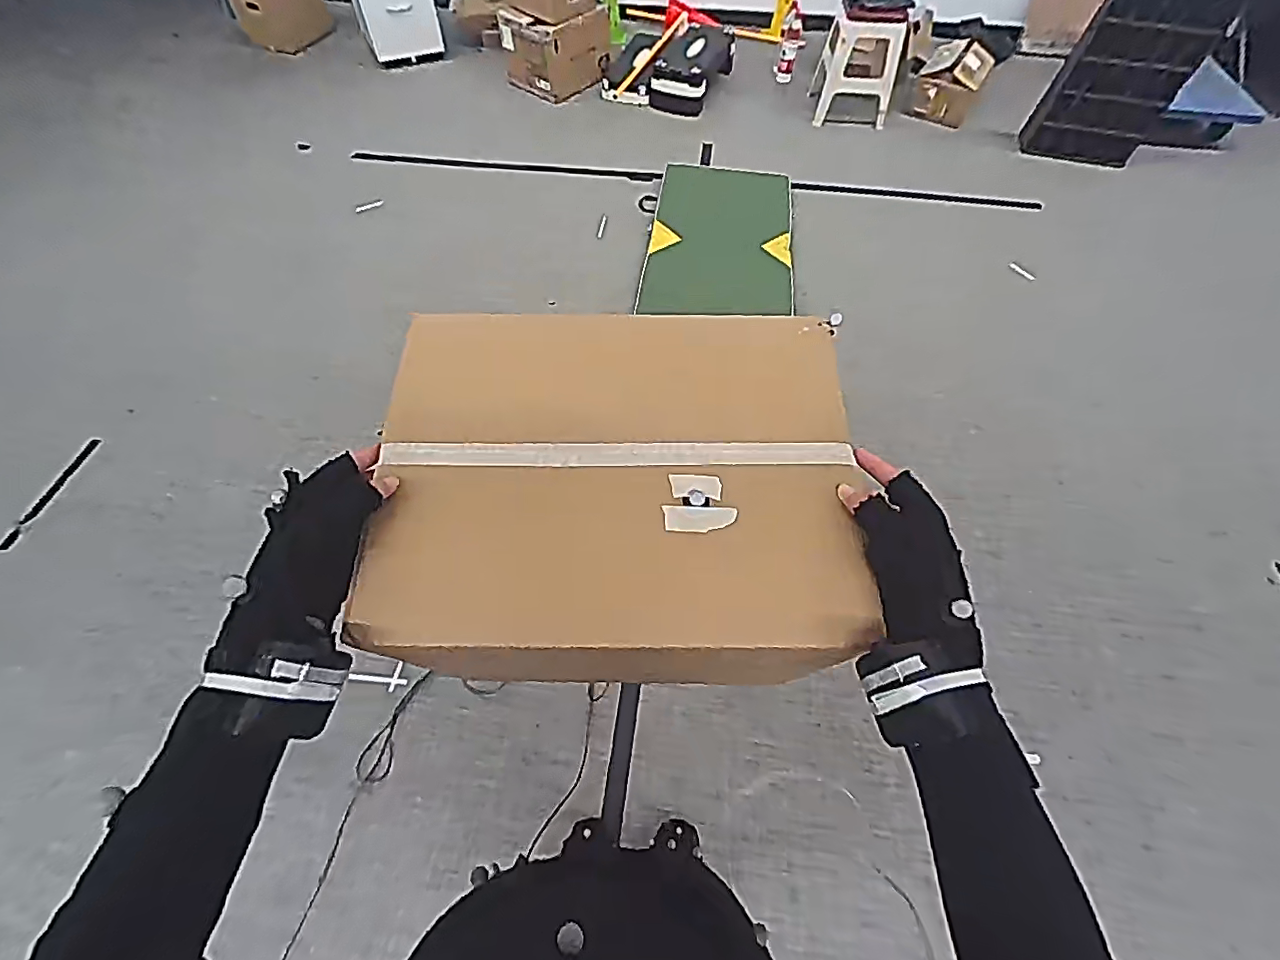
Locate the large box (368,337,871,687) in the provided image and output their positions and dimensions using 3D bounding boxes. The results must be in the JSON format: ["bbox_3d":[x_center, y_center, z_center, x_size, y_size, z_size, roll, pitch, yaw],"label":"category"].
[{"bbox_3d":[-0.019,0.057,0.619,0.408,0.320,0.320,0,65,-1],"label":"large box"}]
